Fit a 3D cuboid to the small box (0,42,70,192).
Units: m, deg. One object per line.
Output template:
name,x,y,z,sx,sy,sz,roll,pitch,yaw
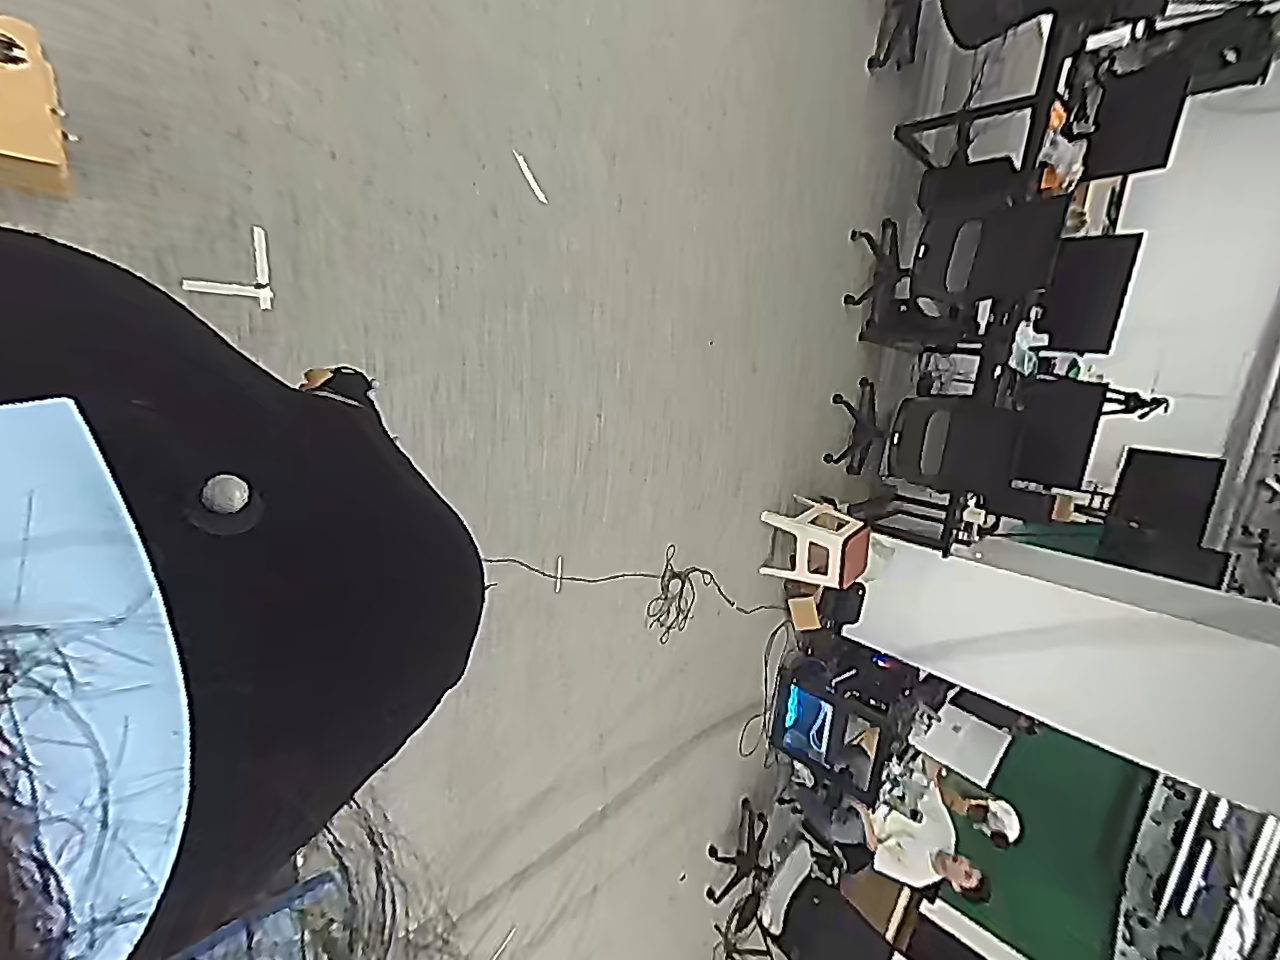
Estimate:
small box,-1.043,-0.585,0.863,0.168,0.176,0.179,-9,109,-45
